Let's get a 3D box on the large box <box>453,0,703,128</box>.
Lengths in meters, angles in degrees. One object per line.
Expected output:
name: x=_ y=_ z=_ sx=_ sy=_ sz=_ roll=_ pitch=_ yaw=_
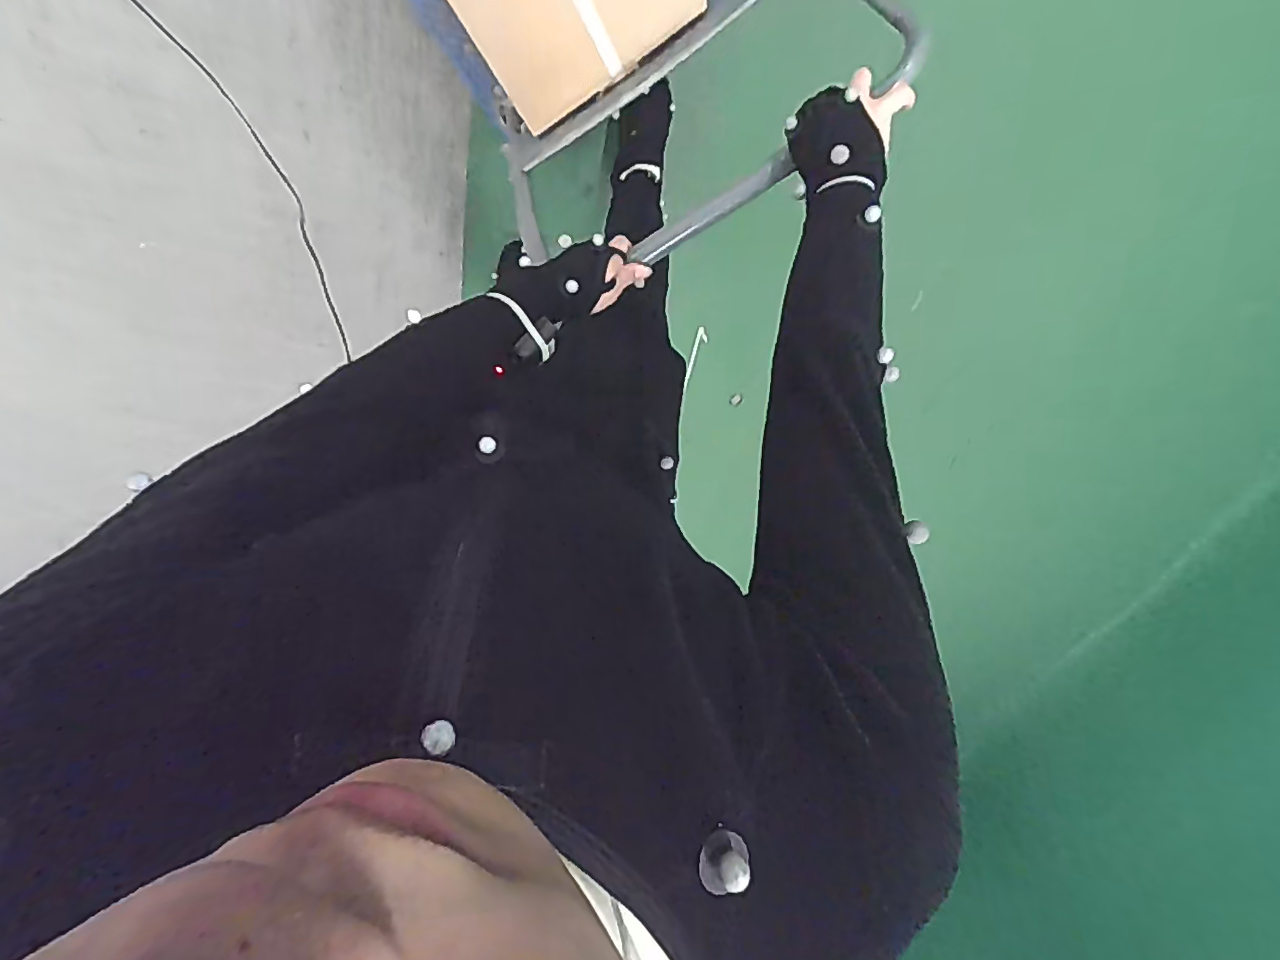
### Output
large box: x=-0.152 y=-0.841 z=0.799 sx=0.320 sy=0.320 sz=0.408 roll=-28 pitch=133 yaw=15
